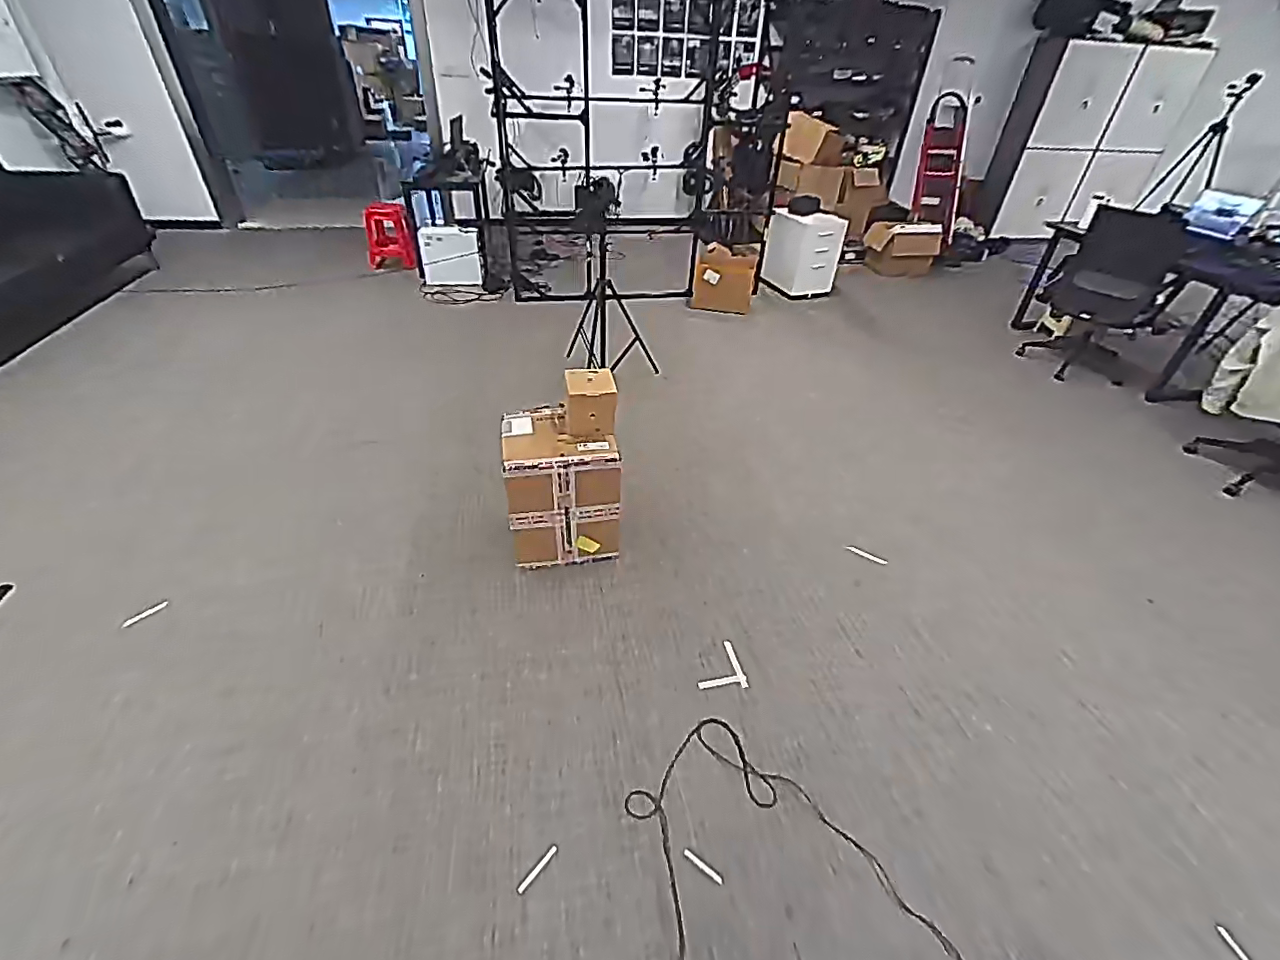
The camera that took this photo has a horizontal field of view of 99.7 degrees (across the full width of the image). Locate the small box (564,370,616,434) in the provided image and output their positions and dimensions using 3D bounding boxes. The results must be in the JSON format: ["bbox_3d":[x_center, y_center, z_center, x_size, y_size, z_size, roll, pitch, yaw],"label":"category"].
[{"bbox_3d":[-0.181,-0.273,1.917,0.168,0.176,0.179,-3,41,-12],"label":"small box"}]
